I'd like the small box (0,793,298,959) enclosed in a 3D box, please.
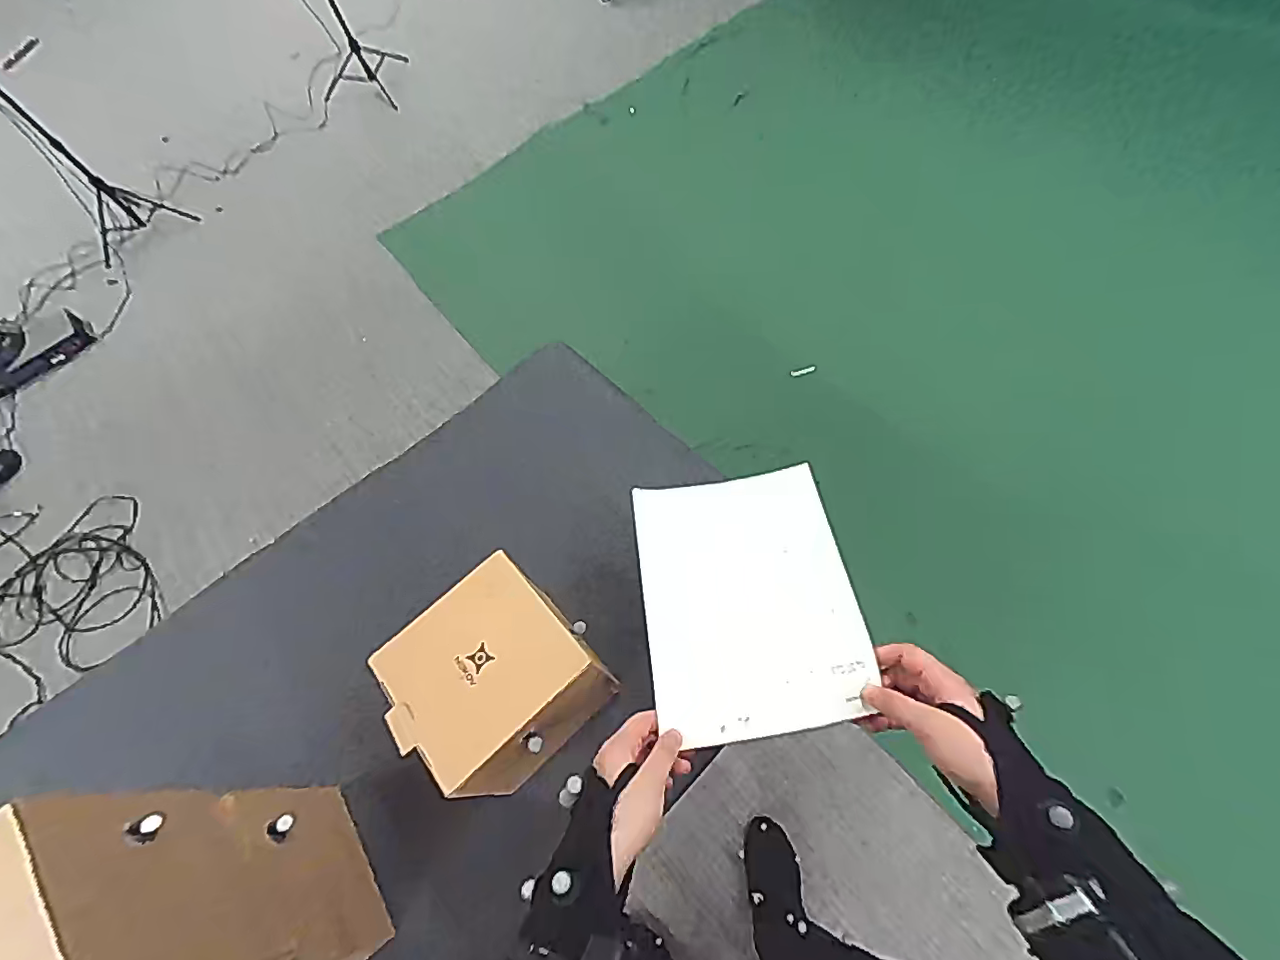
[{"bbox_3d":[-0.404,0.359,0.390,0.179,0.176,0.168,35,74,23],"label":"small box"}]

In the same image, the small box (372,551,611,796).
[{"bbox_3d":[-0.149,0.216,0.608,0.179,0.176,0.168,-42,63,-11],"label":"small box"}]

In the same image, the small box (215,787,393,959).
[{"bbox_3d":[-0.385,0.436,0.532,0.168,0.176,0.179,-38,63,-10],"label":"small box"}]
